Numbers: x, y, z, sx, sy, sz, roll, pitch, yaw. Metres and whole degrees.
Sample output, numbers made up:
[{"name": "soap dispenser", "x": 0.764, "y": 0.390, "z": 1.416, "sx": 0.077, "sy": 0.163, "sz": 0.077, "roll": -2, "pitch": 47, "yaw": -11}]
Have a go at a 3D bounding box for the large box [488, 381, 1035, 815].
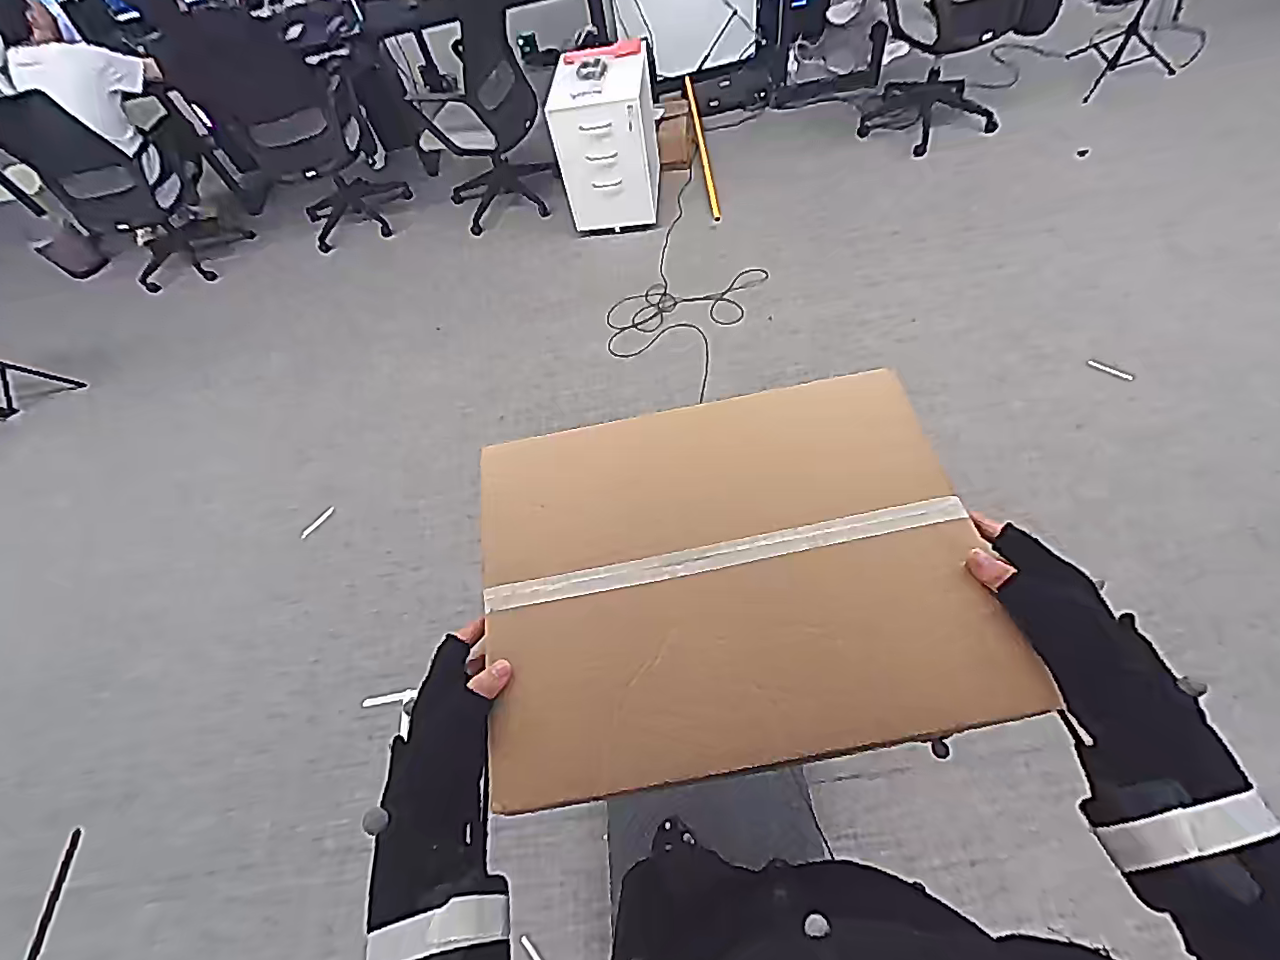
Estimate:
[{"name": "large box", "x": 0.085, "y": 0.141, "z": 0.591, "sx": 0.408, "sy": 0.320, "sz": 0.320, "roll": -11, "pitch": 60, "yaw": 0}]
